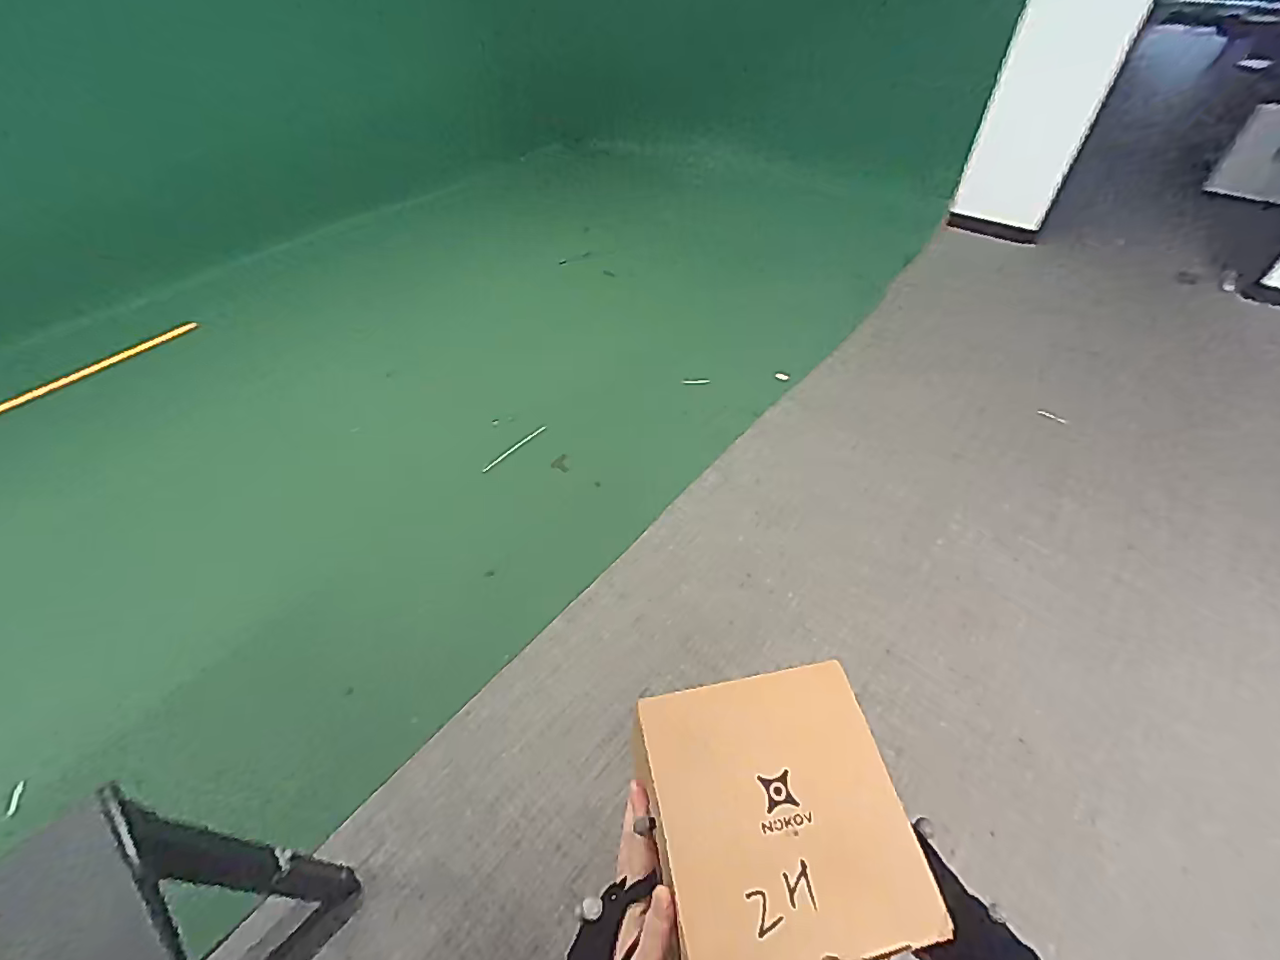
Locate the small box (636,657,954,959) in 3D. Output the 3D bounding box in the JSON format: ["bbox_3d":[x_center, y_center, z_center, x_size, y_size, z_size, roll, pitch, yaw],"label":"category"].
[{"bbox_3d":[0.092,0.265,0.429,0.168,0.176,0.179,-7,53,-9],"label":"small box"}]
